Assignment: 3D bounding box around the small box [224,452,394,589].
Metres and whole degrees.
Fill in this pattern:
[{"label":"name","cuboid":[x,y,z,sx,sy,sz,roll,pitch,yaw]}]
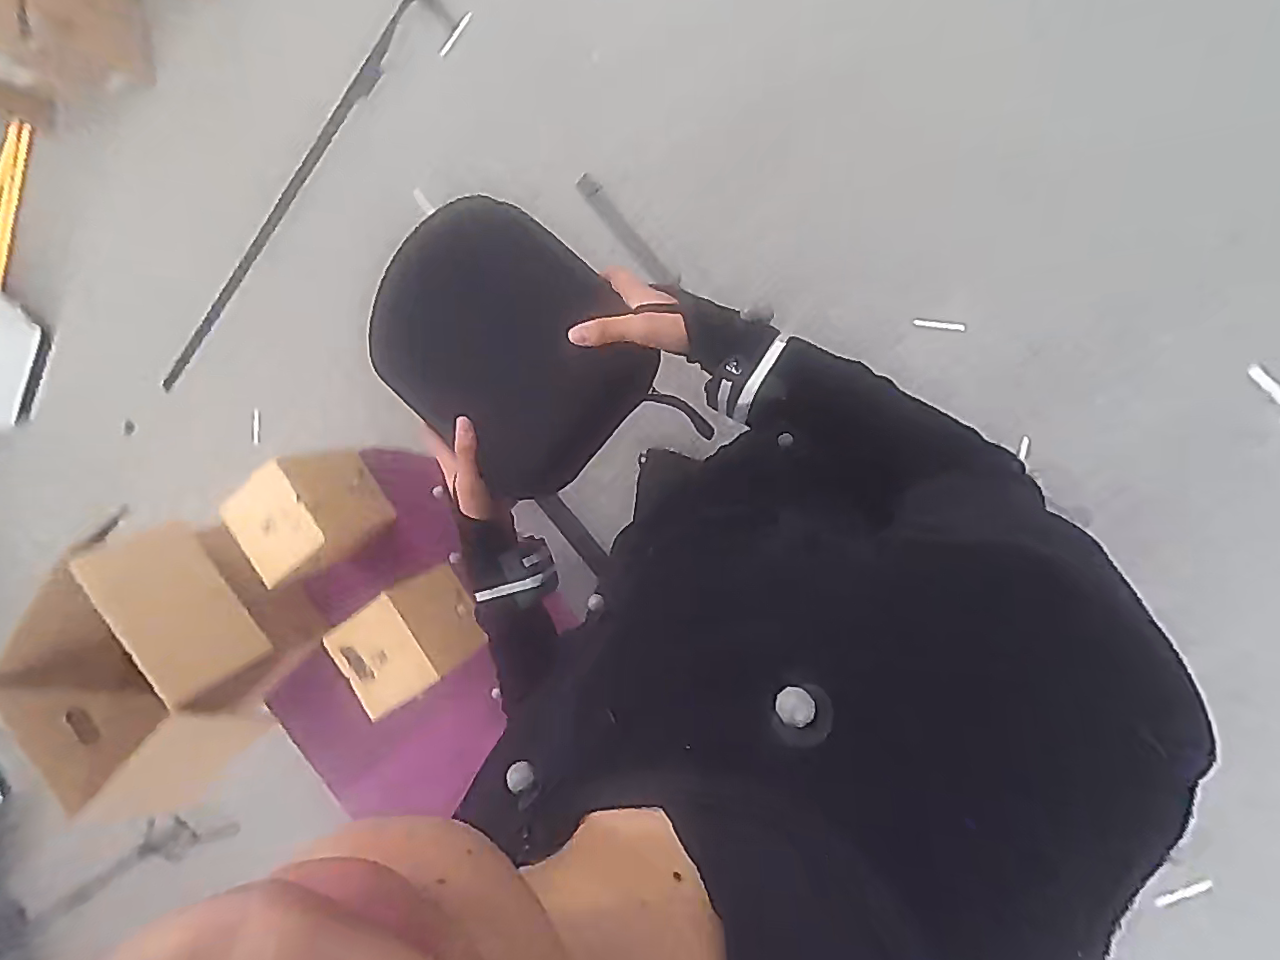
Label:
[{"label":"small box","cuboid":[-0.597,0.068,0.992,0.179,0.176,0.168,-35,89,20]}]
